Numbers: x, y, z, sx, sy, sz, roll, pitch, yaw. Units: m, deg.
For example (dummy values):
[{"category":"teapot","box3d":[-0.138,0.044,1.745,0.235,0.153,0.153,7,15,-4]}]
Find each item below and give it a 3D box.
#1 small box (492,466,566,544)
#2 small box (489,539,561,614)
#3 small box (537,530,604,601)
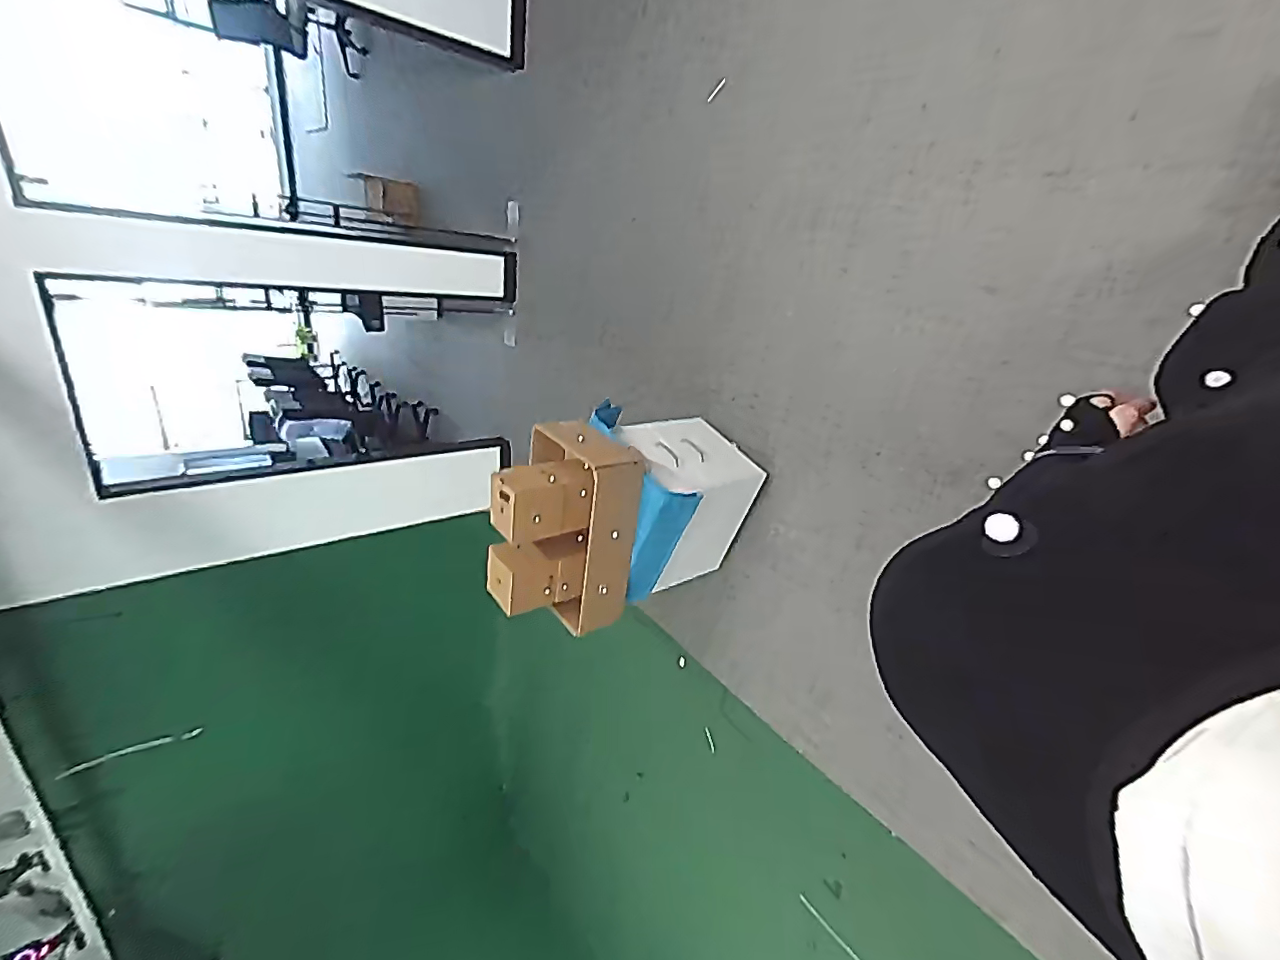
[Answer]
[{"category":"small box","box3d":[-0.339,0.068,1.659,0.168,0.176,0.179,34,125,45]},{"category":"small box","box3d":[-0.379,0.306,1.769,0.179,0.176,0.168,34,123,44]},{"category":"small box","box3d":[-0.247,0.285,1.862,0.179,0.176,0.168,35,124,45]}]
